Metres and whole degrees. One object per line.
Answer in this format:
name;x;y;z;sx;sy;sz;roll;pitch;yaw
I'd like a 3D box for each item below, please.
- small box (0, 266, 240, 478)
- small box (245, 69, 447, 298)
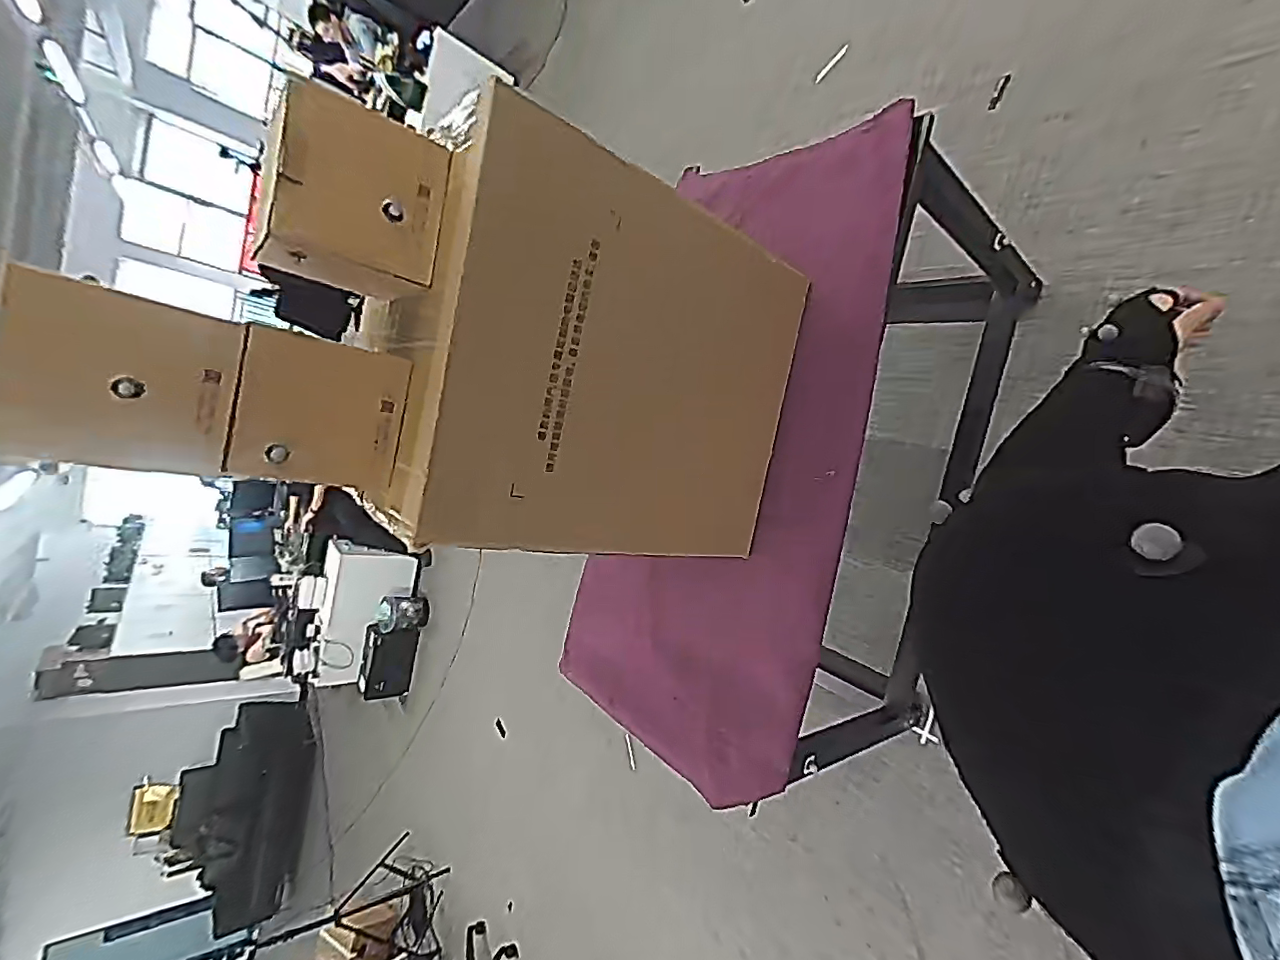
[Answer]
small box;-0.534;-0.099;0.562;0.179;0.176;0.168;10;90;50
small box;-0.355;-0.330;0.651;0.179;0.176;0.168;13;94;49
